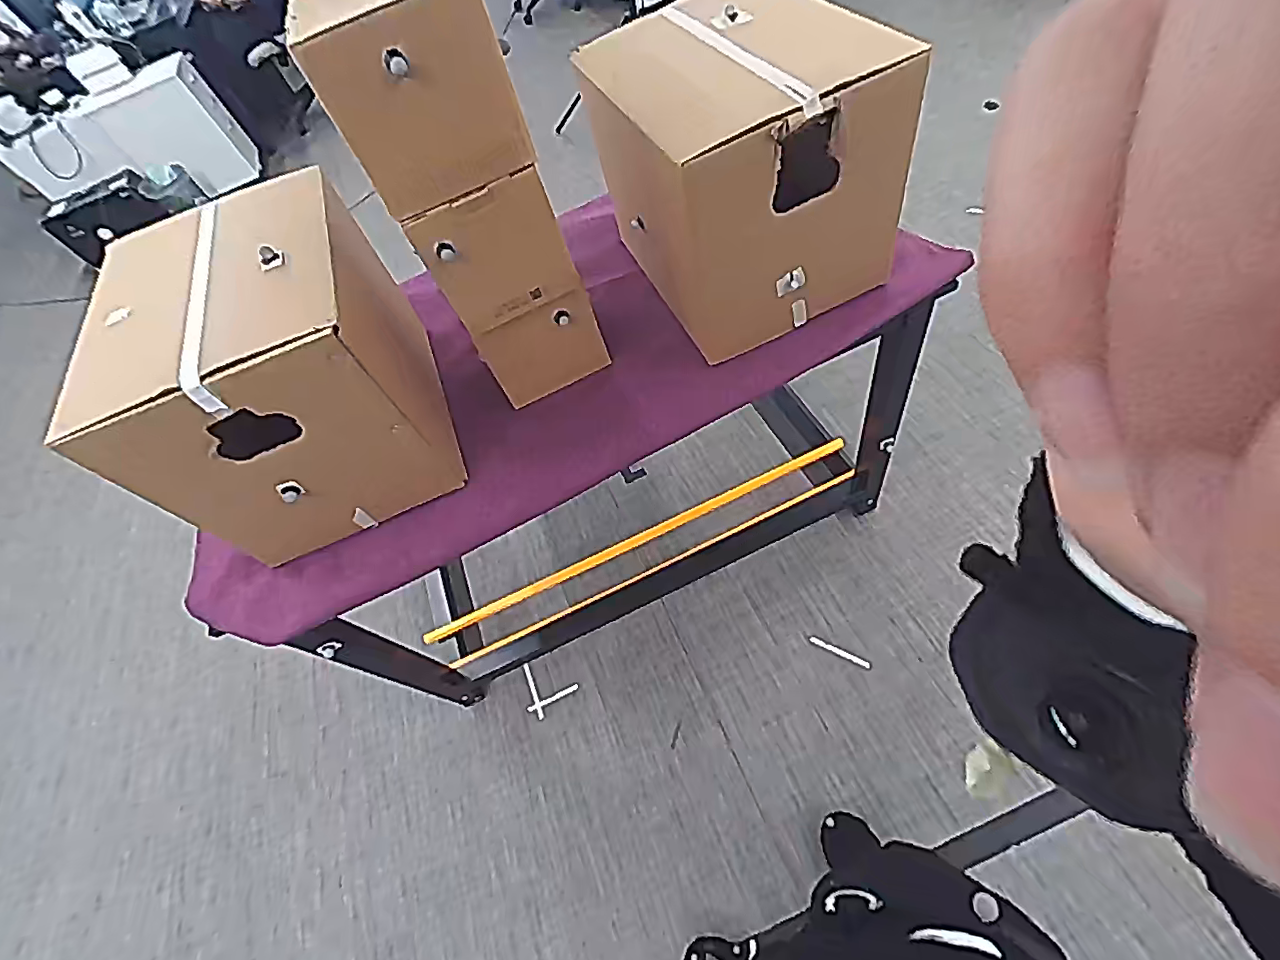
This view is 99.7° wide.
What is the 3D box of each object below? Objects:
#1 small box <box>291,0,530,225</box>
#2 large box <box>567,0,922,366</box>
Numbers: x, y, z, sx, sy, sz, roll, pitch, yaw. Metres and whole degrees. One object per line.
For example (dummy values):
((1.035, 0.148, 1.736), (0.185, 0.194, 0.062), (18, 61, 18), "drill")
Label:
((-0.233, -0.414, 0.579), (0.179, 0.176, 0.168), (-25, 56, -1), "small box")
((0.137, -0.452, 0.820), (0.320, 0.320, 0.408), (-26, 54, -3), "large box")
